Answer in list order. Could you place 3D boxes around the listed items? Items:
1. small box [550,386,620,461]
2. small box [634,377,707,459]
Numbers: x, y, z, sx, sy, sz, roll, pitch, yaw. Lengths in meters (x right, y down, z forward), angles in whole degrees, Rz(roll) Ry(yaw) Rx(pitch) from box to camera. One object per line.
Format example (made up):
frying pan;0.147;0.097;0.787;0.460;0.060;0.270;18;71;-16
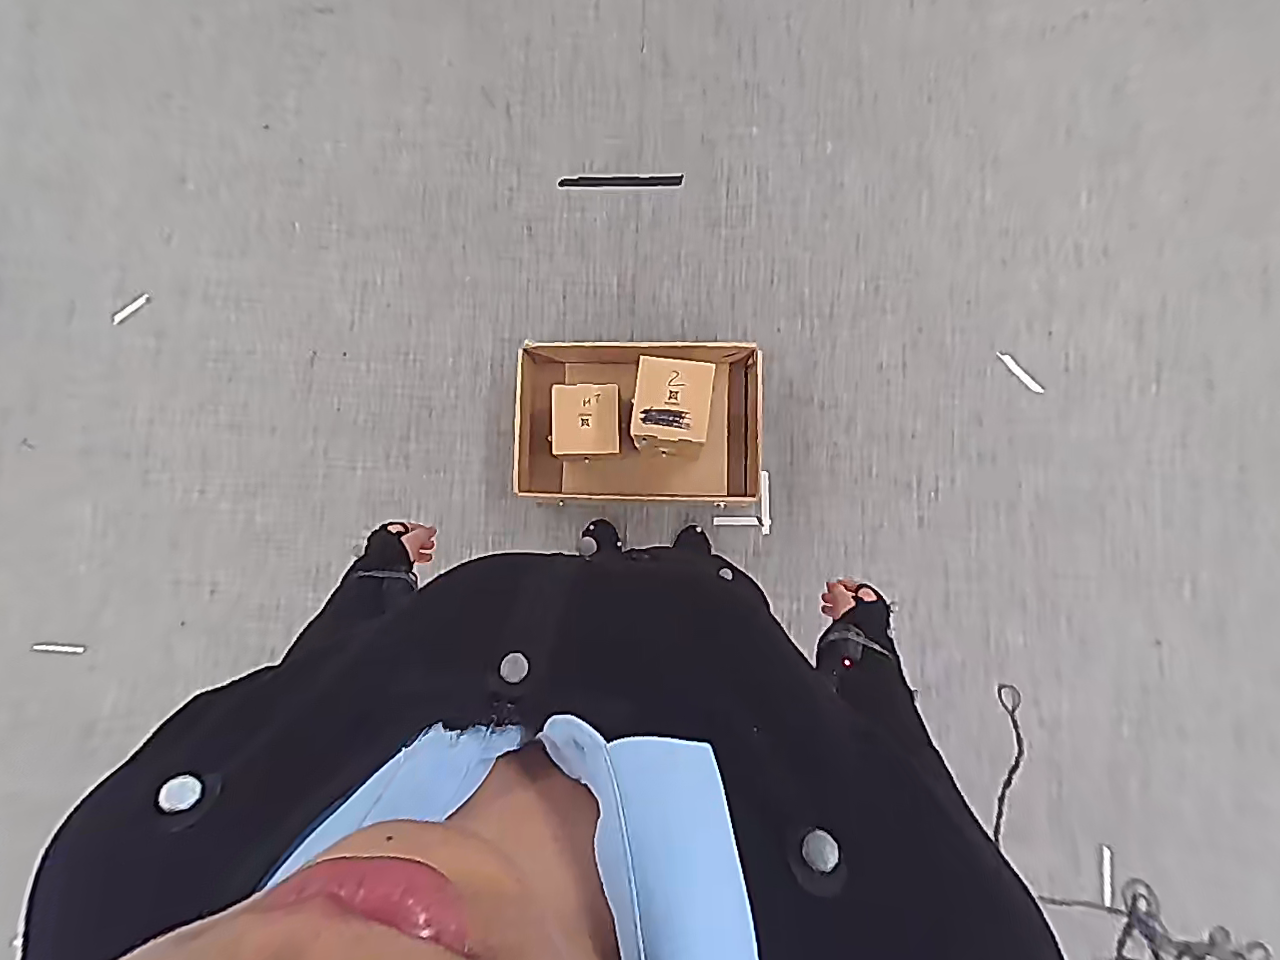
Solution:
small box;-0.137;-0.141;1.407;0.168;0.176;0.179;-1;86;0
small box;0.080;-0.155;1.404;0.168;0.176;0.179;6;87;5
